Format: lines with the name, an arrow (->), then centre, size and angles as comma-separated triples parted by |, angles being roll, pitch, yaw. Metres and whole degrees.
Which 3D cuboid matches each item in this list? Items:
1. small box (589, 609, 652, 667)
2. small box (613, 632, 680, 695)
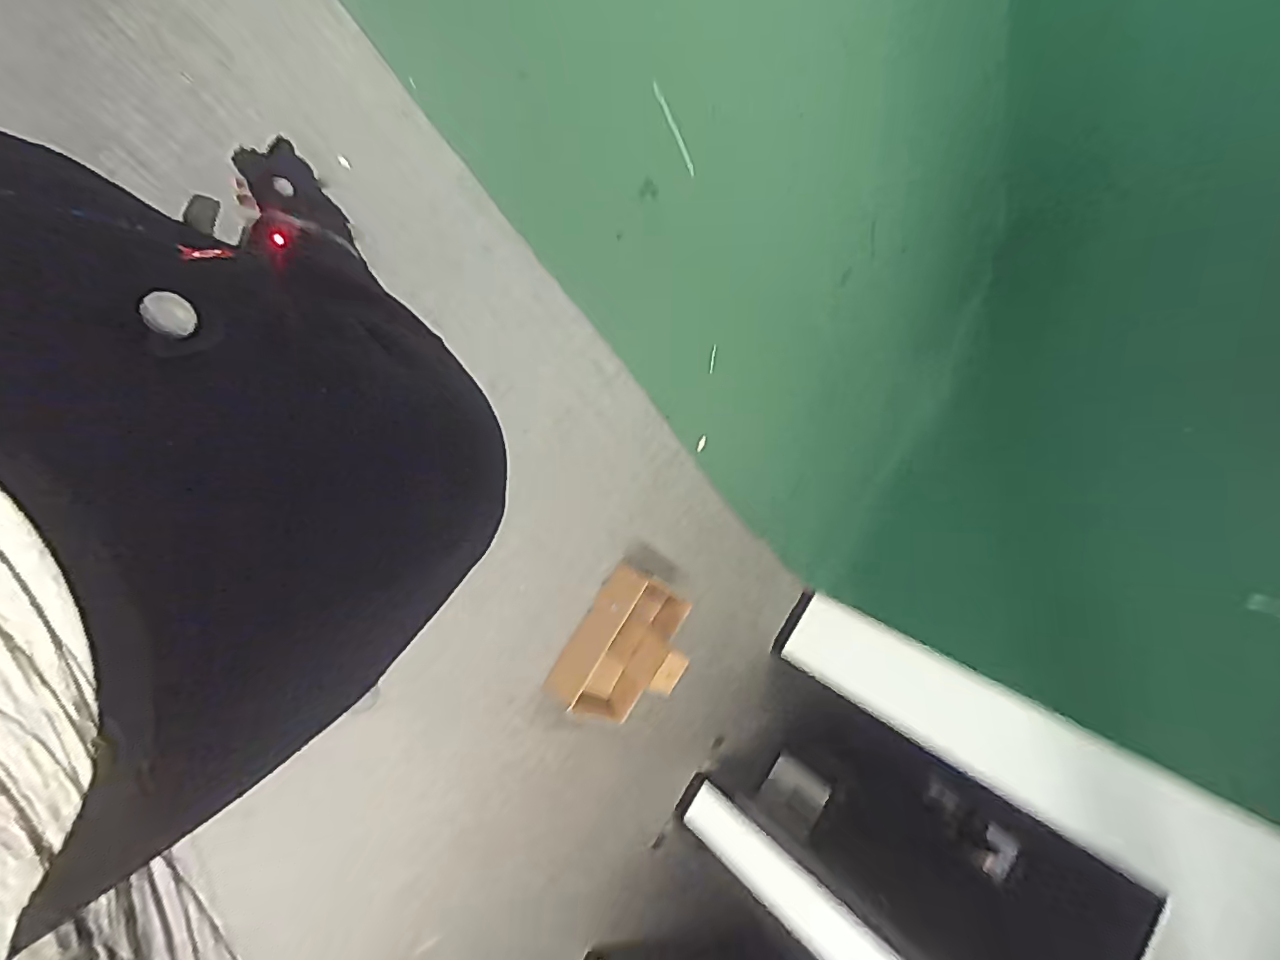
small box -> -0.088, 0.673, 2.272 | 0.168, 0.176, 0.179 | 38, 80, -50
small box -> 0.025, 0.735, 2.175 | 0.168, 0.176, 0.179 | -56, 141, -6
